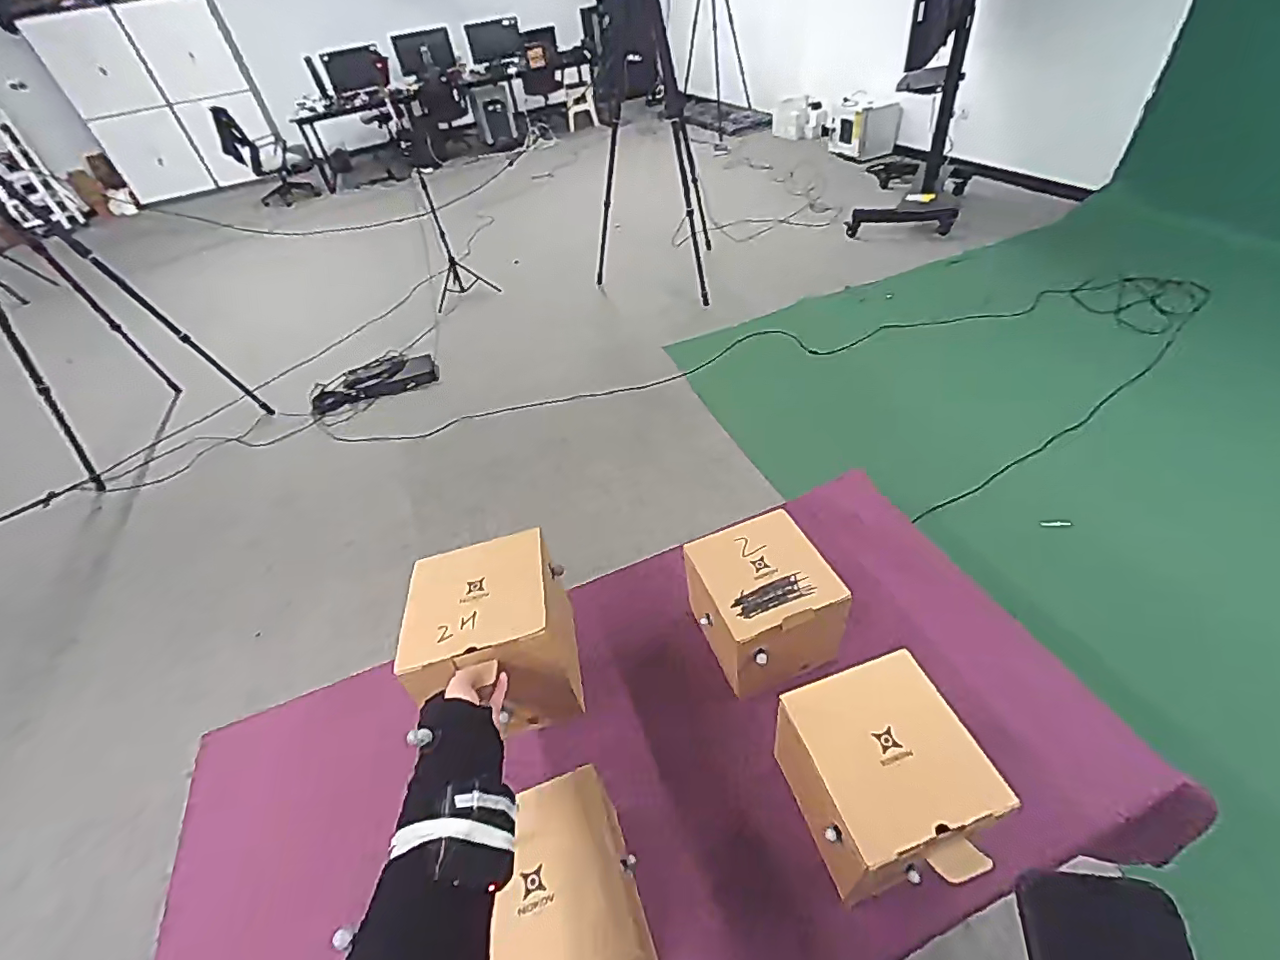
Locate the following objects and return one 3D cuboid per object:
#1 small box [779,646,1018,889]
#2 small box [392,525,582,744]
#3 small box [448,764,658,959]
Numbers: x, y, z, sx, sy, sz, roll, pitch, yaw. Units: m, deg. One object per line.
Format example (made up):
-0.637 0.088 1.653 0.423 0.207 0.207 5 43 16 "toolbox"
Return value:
0.271 0.328 0.621 0.168 0.176 0.179 -17 45 -6 "small box"
-0.178 0.189 0.674 0.168 0.176 0.179 -16 37 -2 "small box"
-0.089 0.445 0.574 0.168 0.176 0.179 -18 43 -9 "small box"
